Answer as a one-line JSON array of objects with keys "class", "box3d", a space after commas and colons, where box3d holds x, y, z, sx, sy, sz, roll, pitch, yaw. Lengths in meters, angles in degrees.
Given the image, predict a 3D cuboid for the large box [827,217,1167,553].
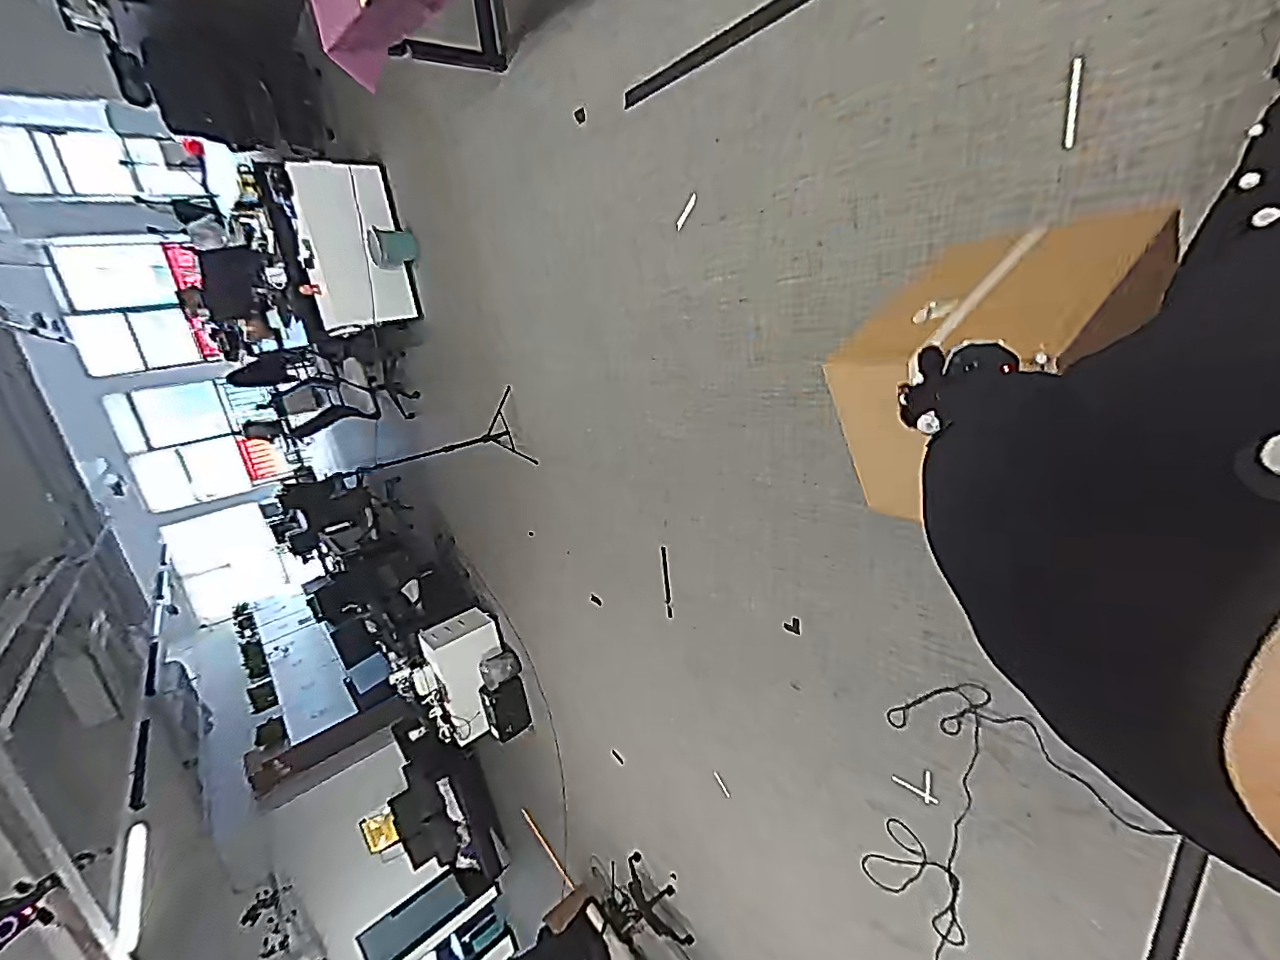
[{"class": "large box", "box3d": [0.580, -0.154, 0.868, 0.320, 0.408, 0.320, 14, 140, 56]}]
